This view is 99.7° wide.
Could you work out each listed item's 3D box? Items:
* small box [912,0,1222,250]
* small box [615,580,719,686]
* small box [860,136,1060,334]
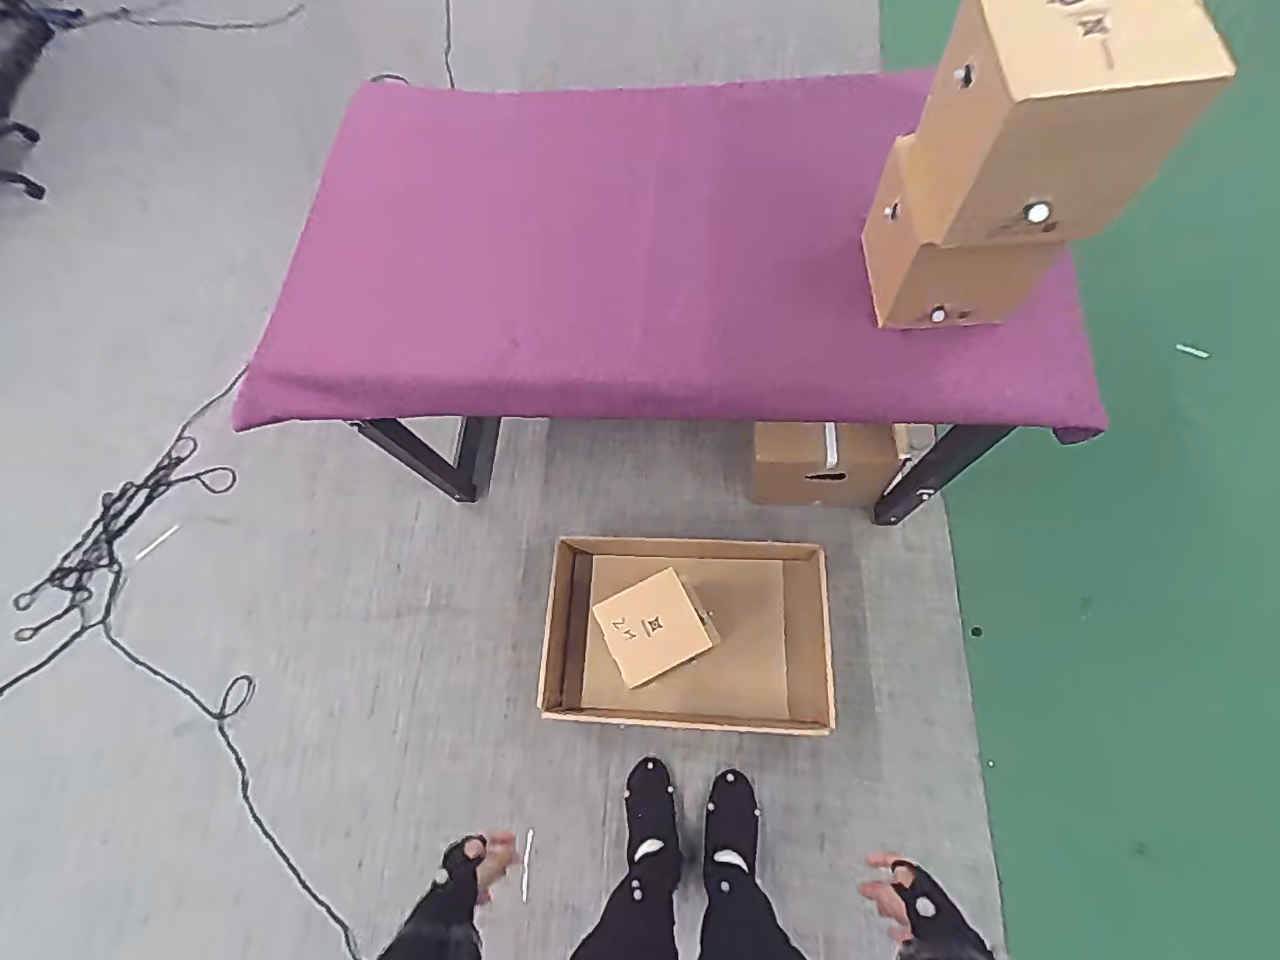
[{"bbox_3d":[0.394,-0.363,0.543,0.168,0.176,0.179,-2,68,8],"label":"small box"},{"bbox_3d":[0.065,0.350,1.219,0.179,0.176,0.168,-27,69,-4],"label":"small box"},{"bbox_3d":[0.397,-0.315,0.701,0.168,0.176,0.179,-2,68,8],"label":"small box"}]
